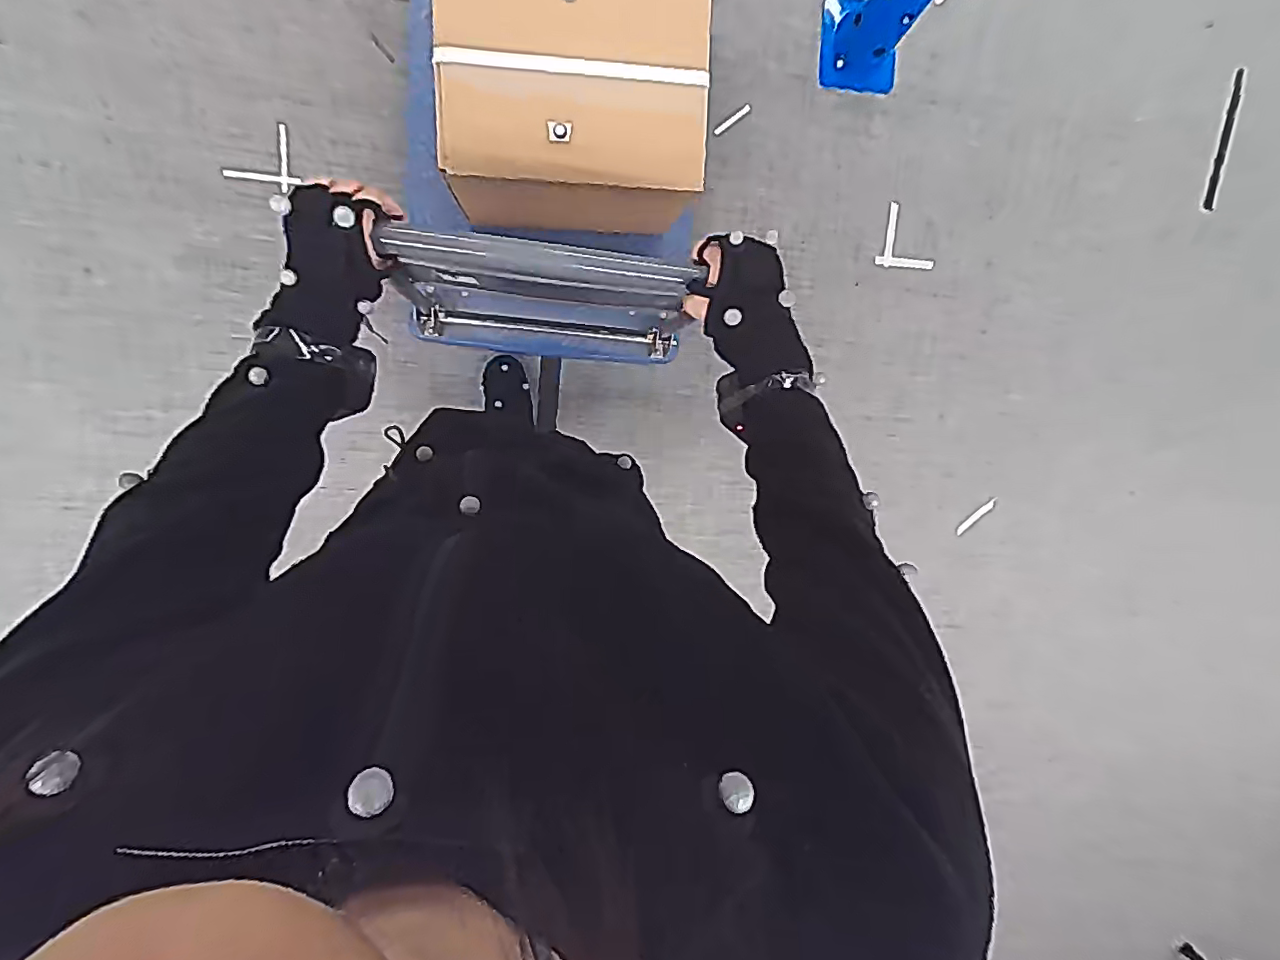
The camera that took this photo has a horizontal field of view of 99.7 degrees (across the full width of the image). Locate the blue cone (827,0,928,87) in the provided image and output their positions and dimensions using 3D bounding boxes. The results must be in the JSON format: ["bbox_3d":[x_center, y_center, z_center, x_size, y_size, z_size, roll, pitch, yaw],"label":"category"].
[{"bbox_3d":[0.571,-1.036,1.154,0.193,0.380,0.192,0,101,-10],"label":"blue cone"}]
